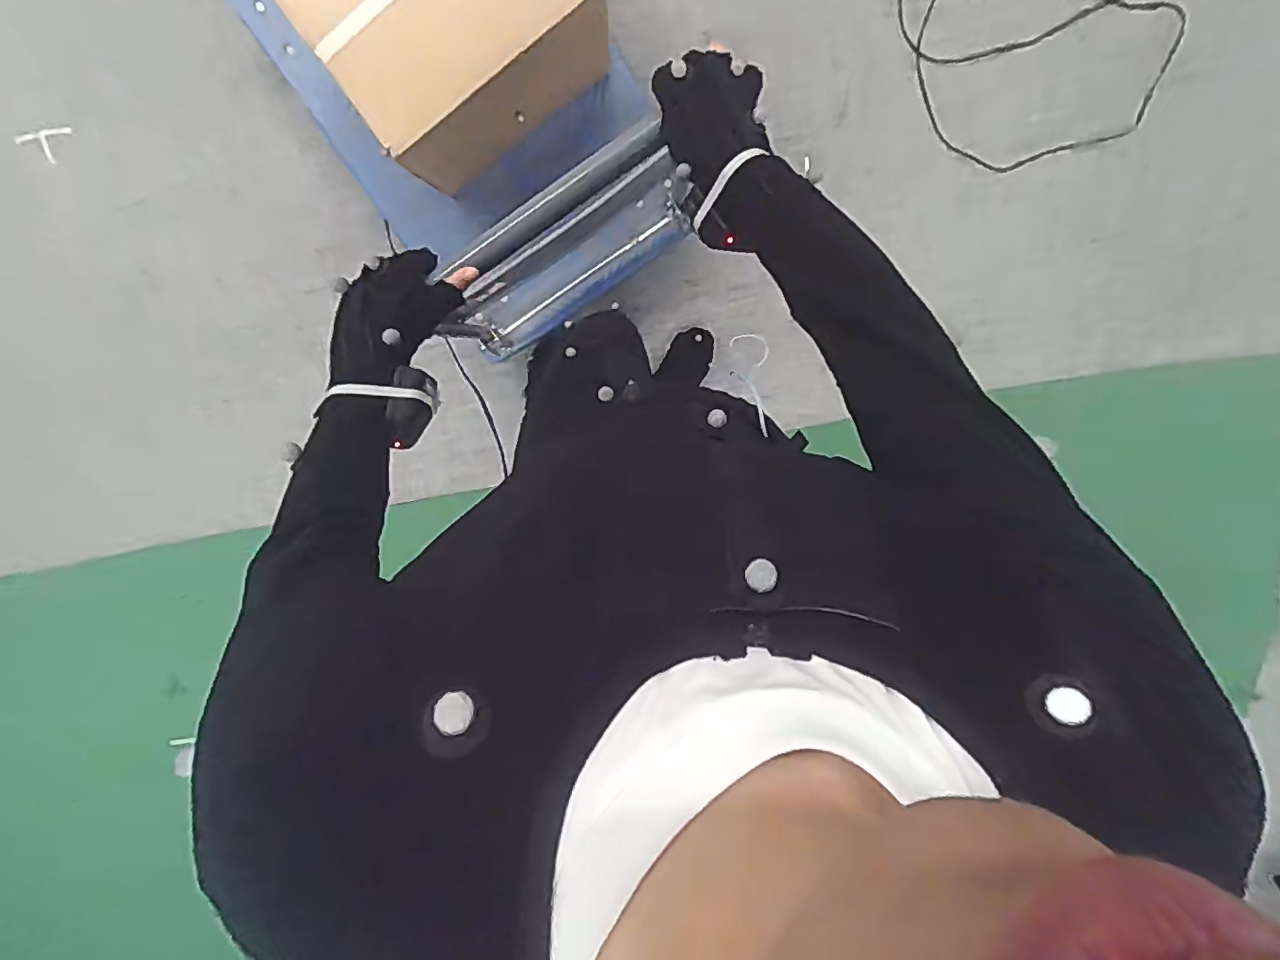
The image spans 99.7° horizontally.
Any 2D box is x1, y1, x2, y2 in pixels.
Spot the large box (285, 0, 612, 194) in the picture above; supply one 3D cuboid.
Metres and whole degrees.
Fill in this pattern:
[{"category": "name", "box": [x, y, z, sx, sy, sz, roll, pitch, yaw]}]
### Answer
[{"category": "large box", "box": [-0.296, -0.773, 0.922, 0.408, 0.320, 0.320, -33, 105, 9]}]
